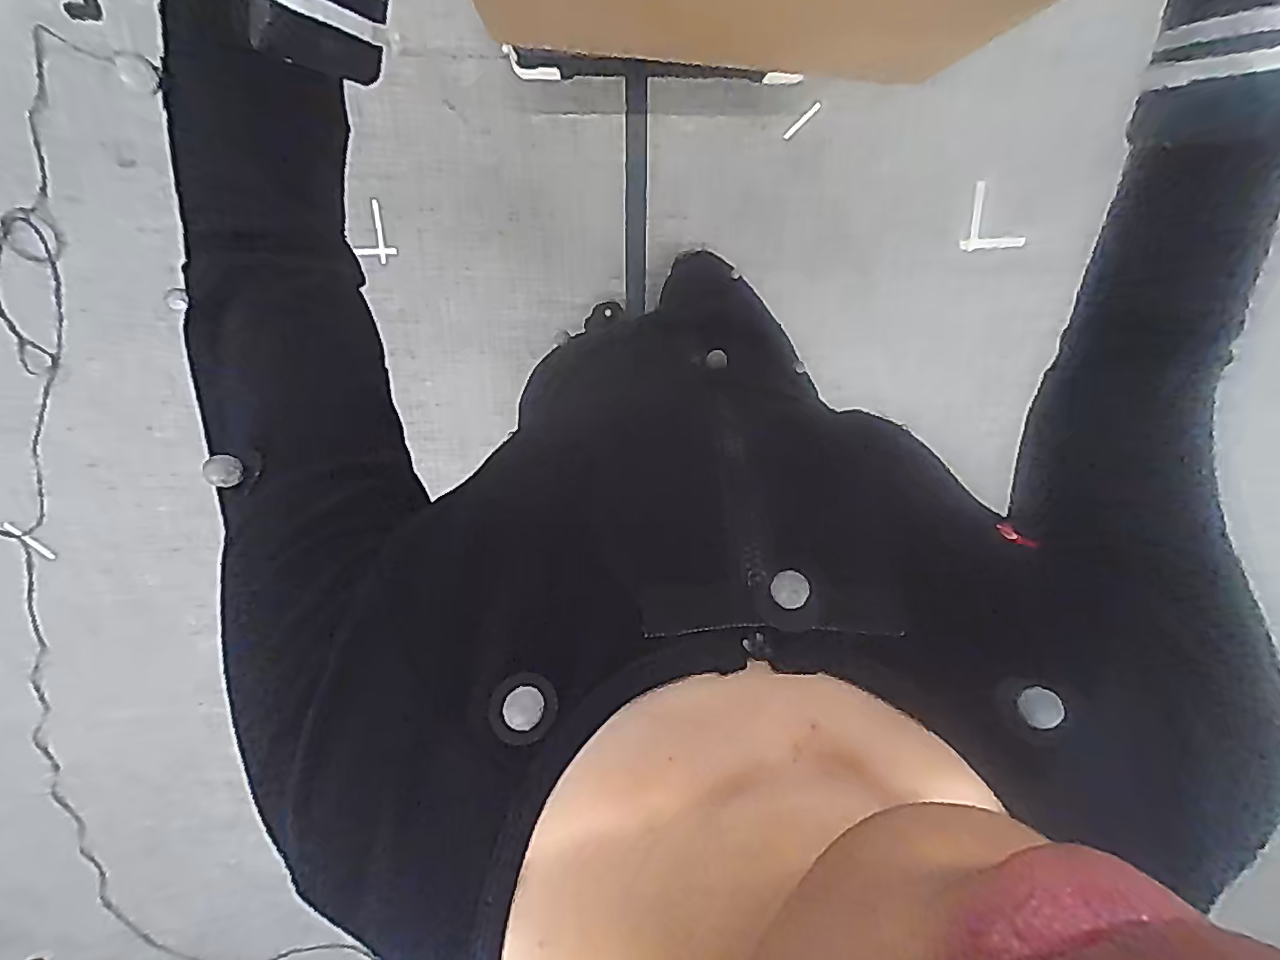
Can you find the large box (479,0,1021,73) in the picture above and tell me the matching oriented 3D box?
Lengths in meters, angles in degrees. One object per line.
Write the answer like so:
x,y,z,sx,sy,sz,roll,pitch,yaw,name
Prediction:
0.082,-0.479,0.310,0.408,0.320,0.320,1,111,-5,large box
